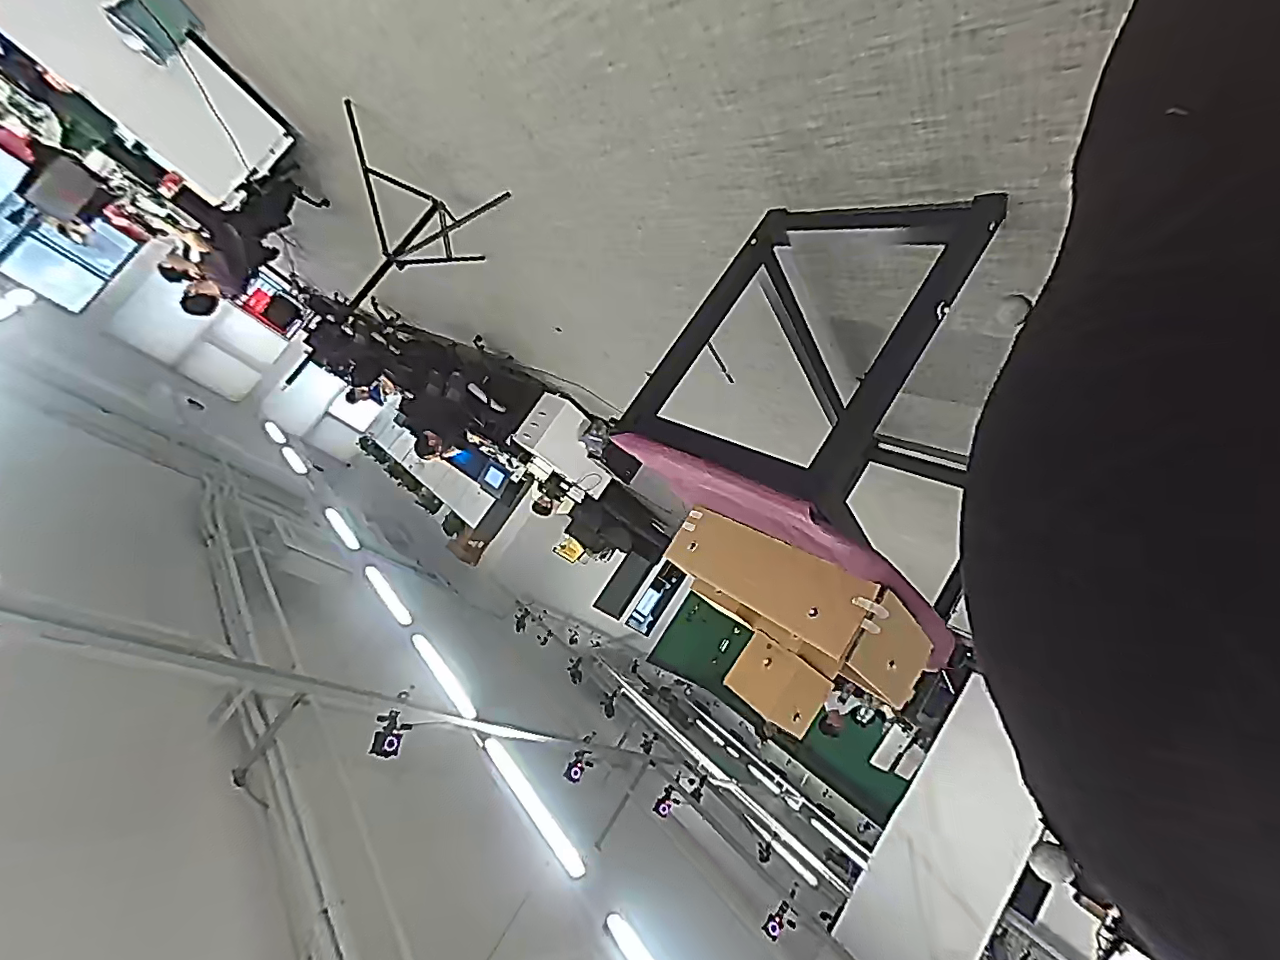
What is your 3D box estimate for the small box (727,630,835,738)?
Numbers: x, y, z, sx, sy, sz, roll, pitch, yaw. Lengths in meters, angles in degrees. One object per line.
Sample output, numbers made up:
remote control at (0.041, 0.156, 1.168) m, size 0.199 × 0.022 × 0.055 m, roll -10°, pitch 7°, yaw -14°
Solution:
small box at (0.365, 0.519, 1.388) m, size 0.179 × 0.176 × 0.168 m, roll 41°, pitch 171°, yaw -33°
